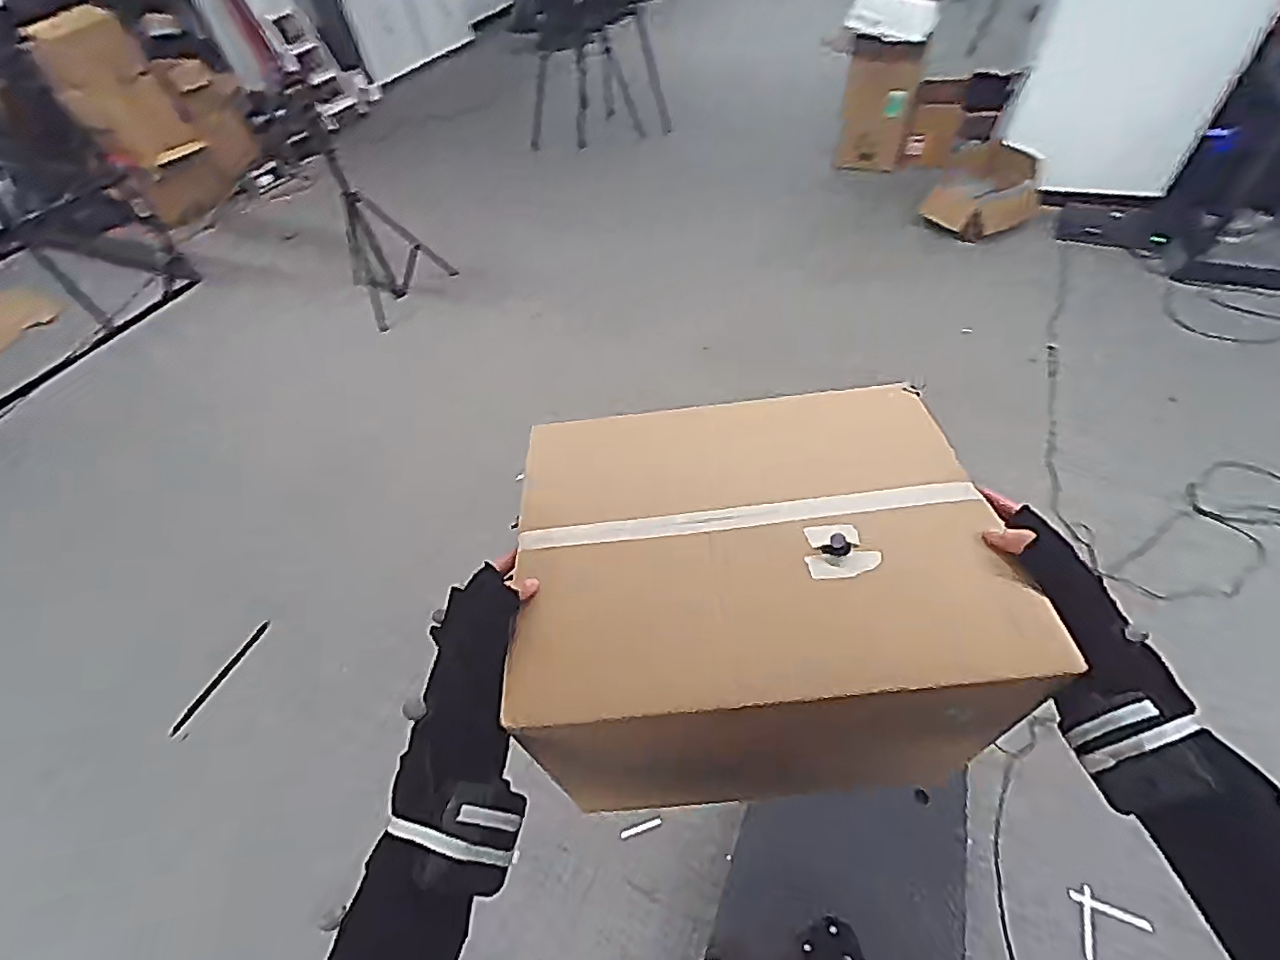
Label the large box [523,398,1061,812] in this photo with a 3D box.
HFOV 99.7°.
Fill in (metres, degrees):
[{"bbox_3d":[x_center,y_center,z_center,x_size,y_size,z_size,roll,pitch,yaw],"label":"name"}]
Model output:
[{"bbox_3d":[0.113,0.145,0.602,0.408,0.320,0.320,-6,48,2],"label":"large box"}]
